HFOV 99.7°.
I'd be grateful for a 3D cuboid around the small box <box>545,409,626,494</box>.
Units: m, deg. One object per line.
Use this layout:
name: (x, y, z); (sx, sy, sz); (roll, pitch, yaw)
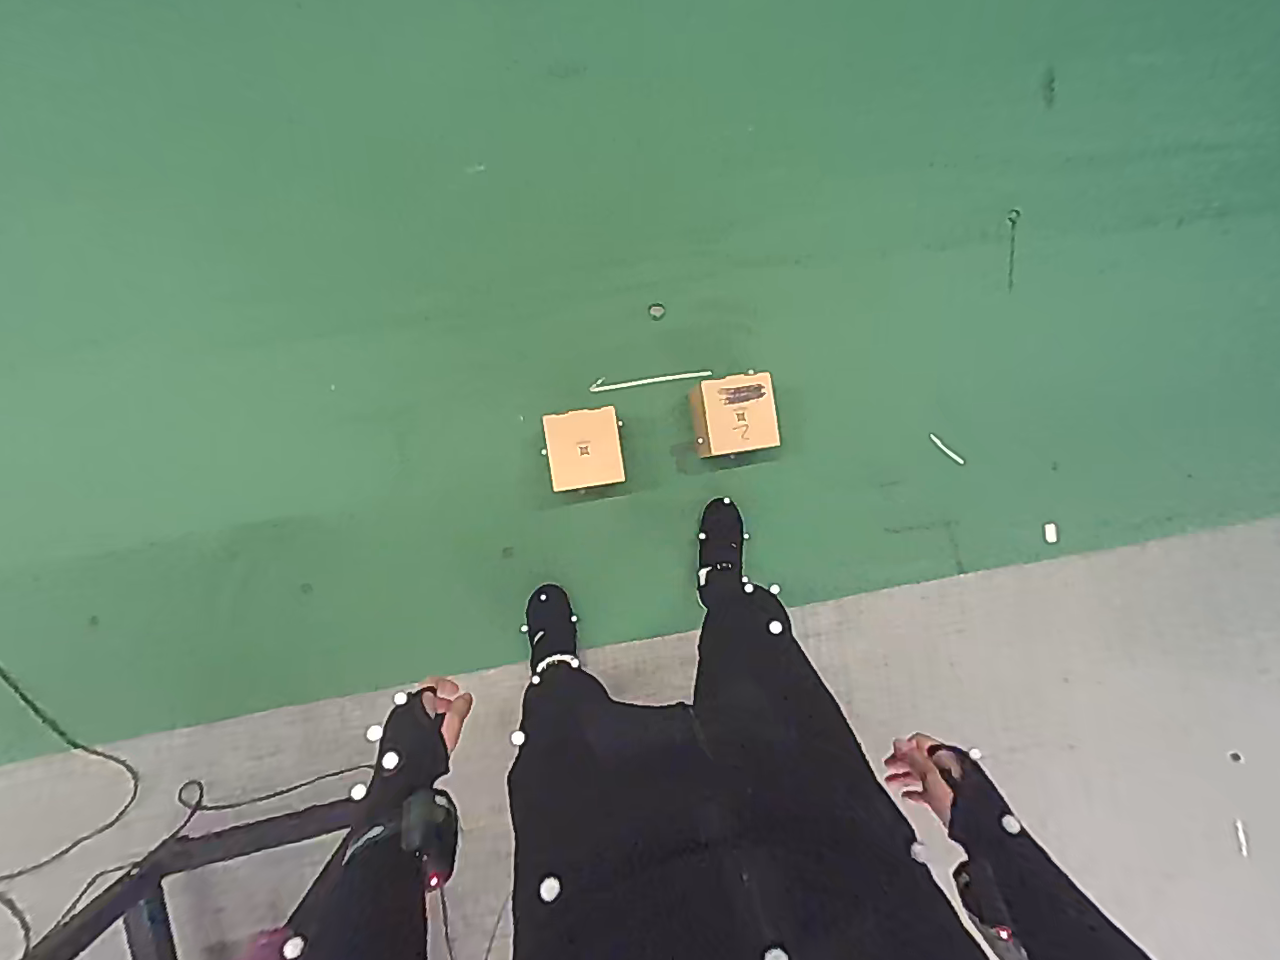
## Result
small box: (-0.127, -0.066, 1.301); (0.168, 0.176, 0.179); (-9, 90, -4)
